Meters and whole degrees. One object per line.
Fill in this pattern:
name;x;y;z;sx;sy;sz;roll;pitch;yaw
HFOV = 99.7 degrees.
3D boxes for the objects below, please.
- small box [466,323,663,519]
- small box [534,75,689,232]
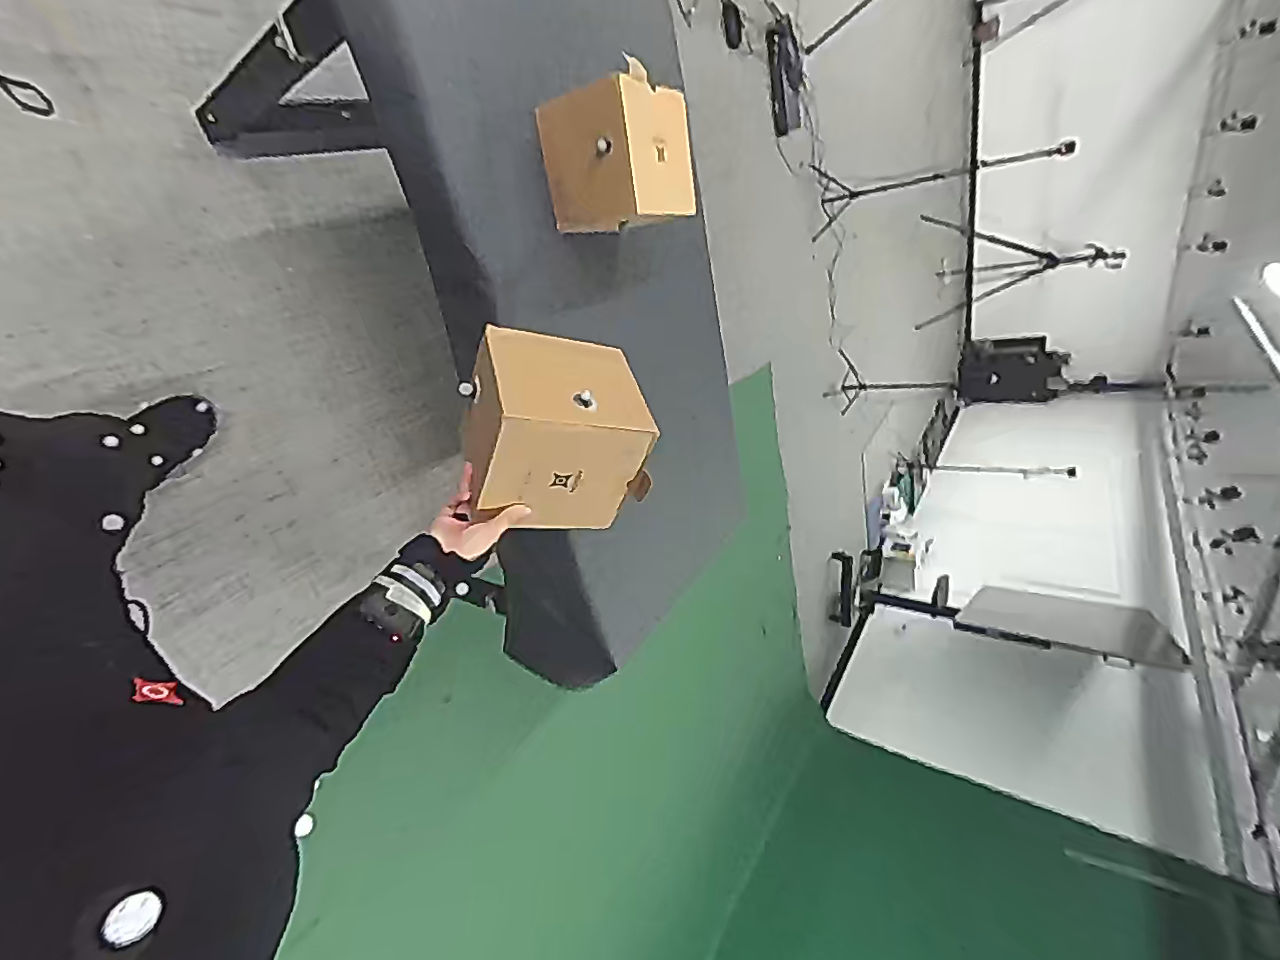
small box;-0.103;-0.069;0.659;0.179;0.176;0.168;3;134;-28
small box;-0.043;-0.501;0.861;0.168;0.176;0.179;-32;119;-47
